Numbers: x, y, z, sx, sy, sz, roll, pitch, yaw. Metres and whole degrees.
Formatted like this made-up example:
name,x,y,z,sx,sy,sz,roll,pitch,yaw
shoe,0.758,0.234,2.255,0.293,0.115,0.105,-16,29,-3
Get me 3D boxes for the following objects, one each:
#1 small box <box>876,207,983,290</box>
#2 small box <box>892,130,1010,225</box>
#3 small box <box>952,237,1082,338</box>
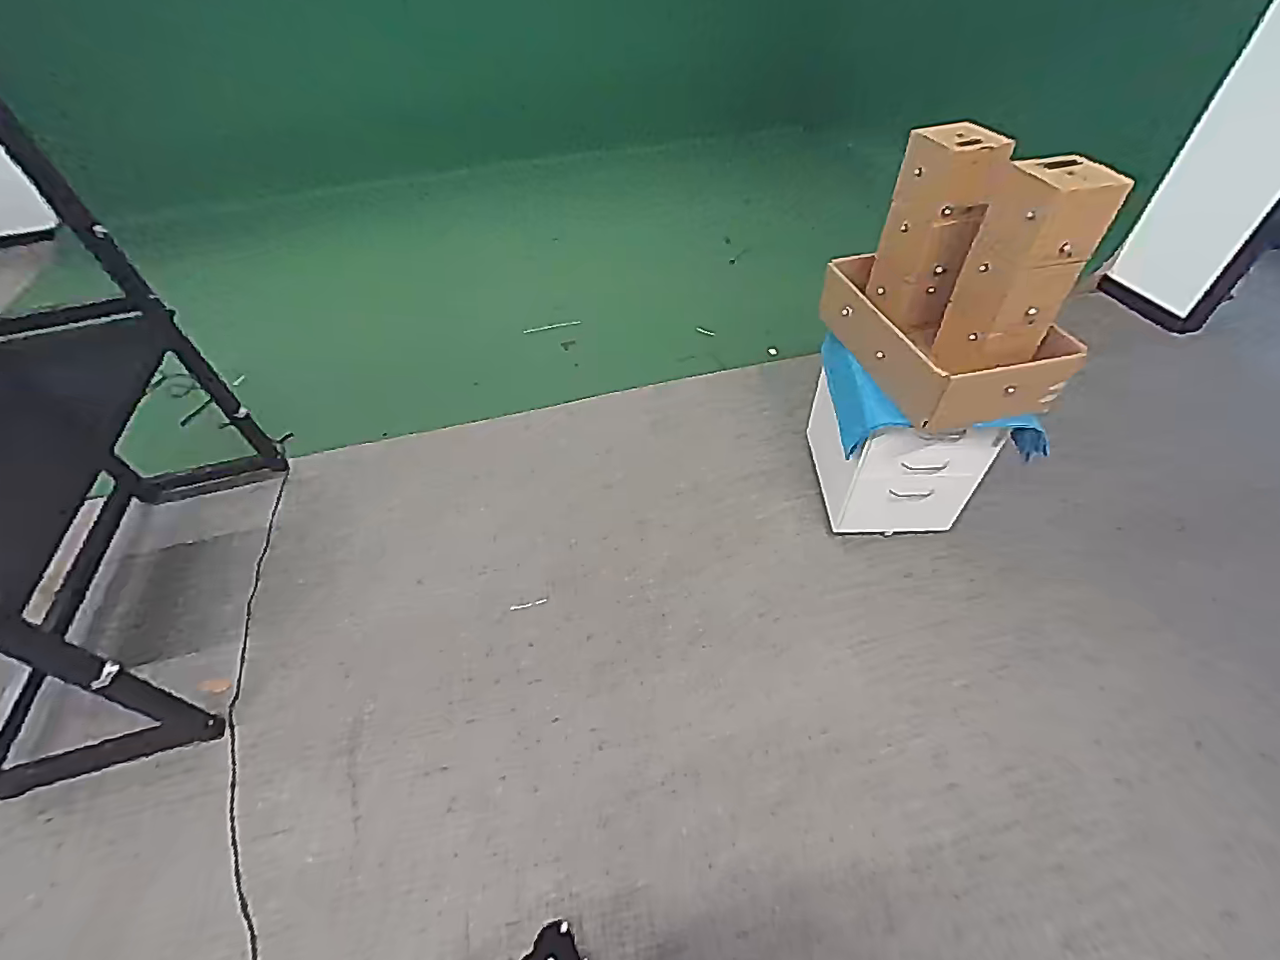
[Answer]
name,x,y,z,sx,sy,sz,roll,pitch,yaw
small box,0.789,-0.651,1.499,0.168,0.176,0.179,-15,50,-10
small box,0.783,-0.766,1.383,0.168,0.176,0.179,-12,48,-8
small box,0.911,-0.473,1.331,0.168,0.176,0.179,-9,48,-5
